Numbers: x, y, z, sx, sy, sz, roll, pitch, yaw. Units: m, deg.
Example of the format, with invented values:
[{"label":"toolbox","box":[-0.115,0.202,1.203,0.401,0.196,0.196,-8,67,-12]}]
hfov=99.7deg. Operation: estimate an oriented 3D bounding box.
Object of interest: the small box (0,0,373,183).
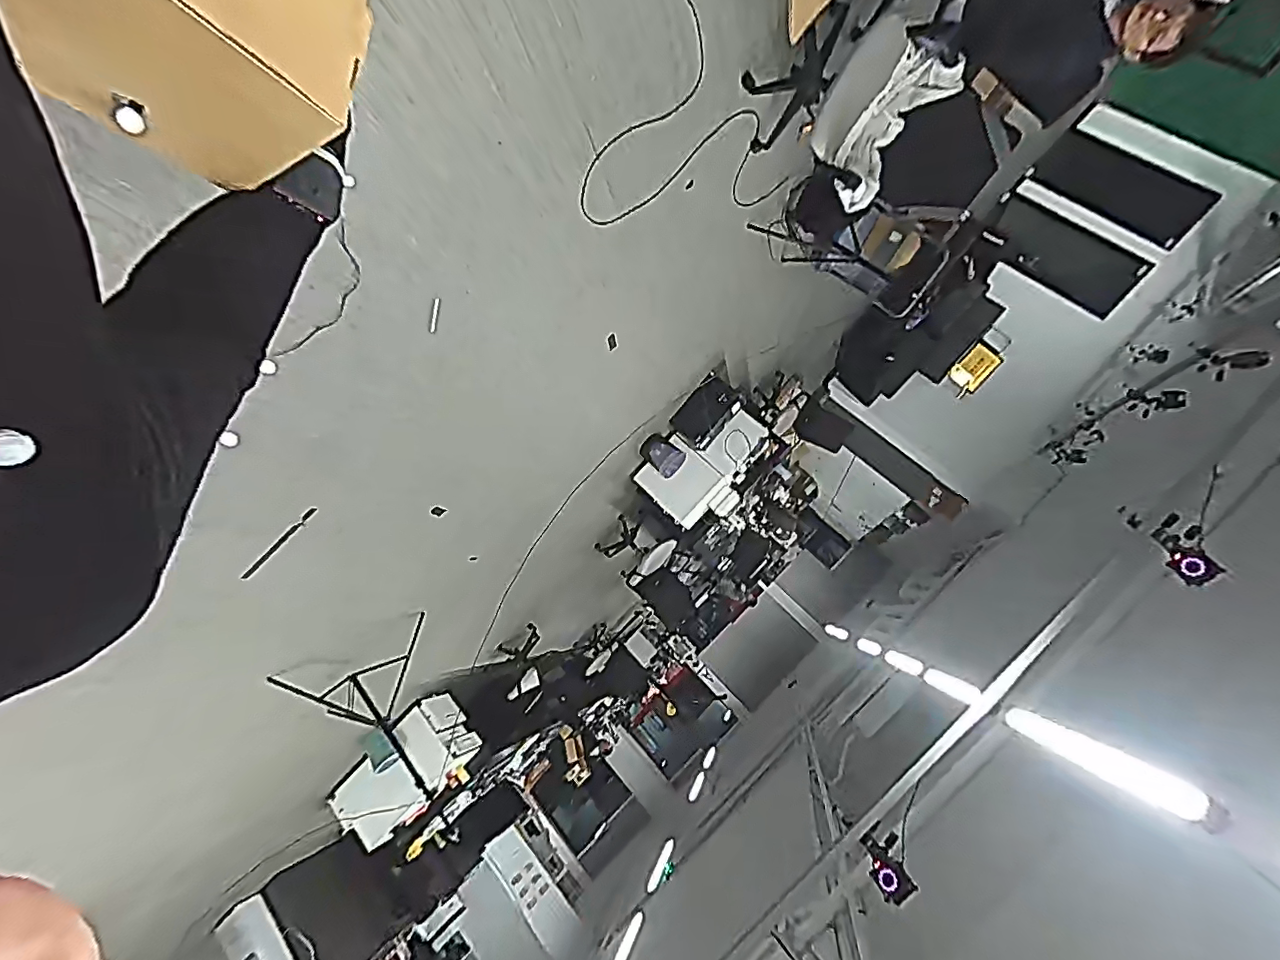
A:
[{"label":"small box","box":[-0.334,-0.354,0.399,0.179,0.176,0.168,19,71,-57]}]
